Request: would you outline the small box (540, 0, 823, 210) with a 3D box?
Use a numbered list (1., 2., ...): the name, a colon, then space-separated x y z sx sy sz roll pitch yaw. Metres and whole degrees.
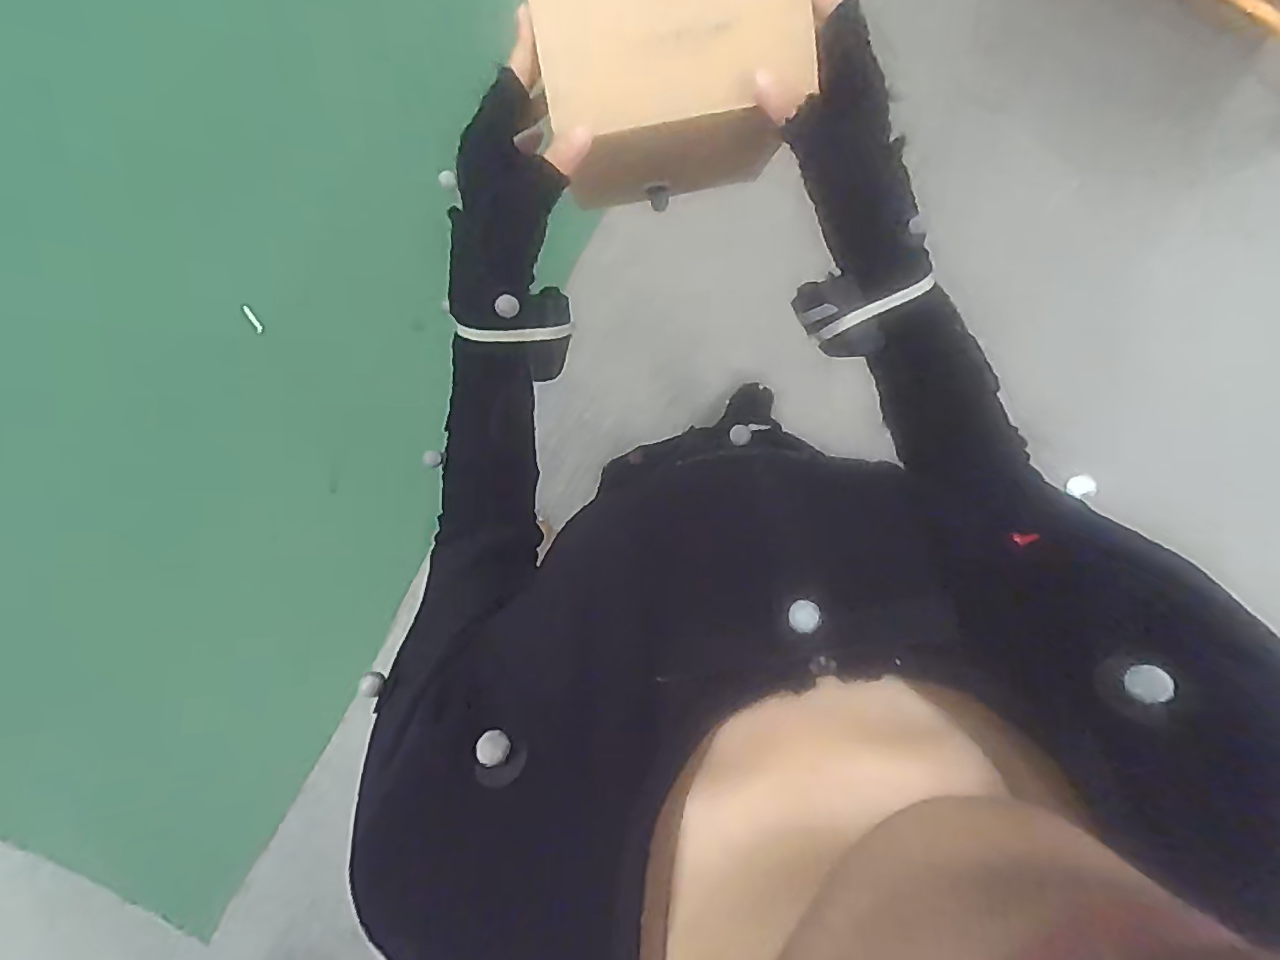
1. small box: 0.017 -0.322 0.392 0.168 0.176 0.179 -10 103 2
